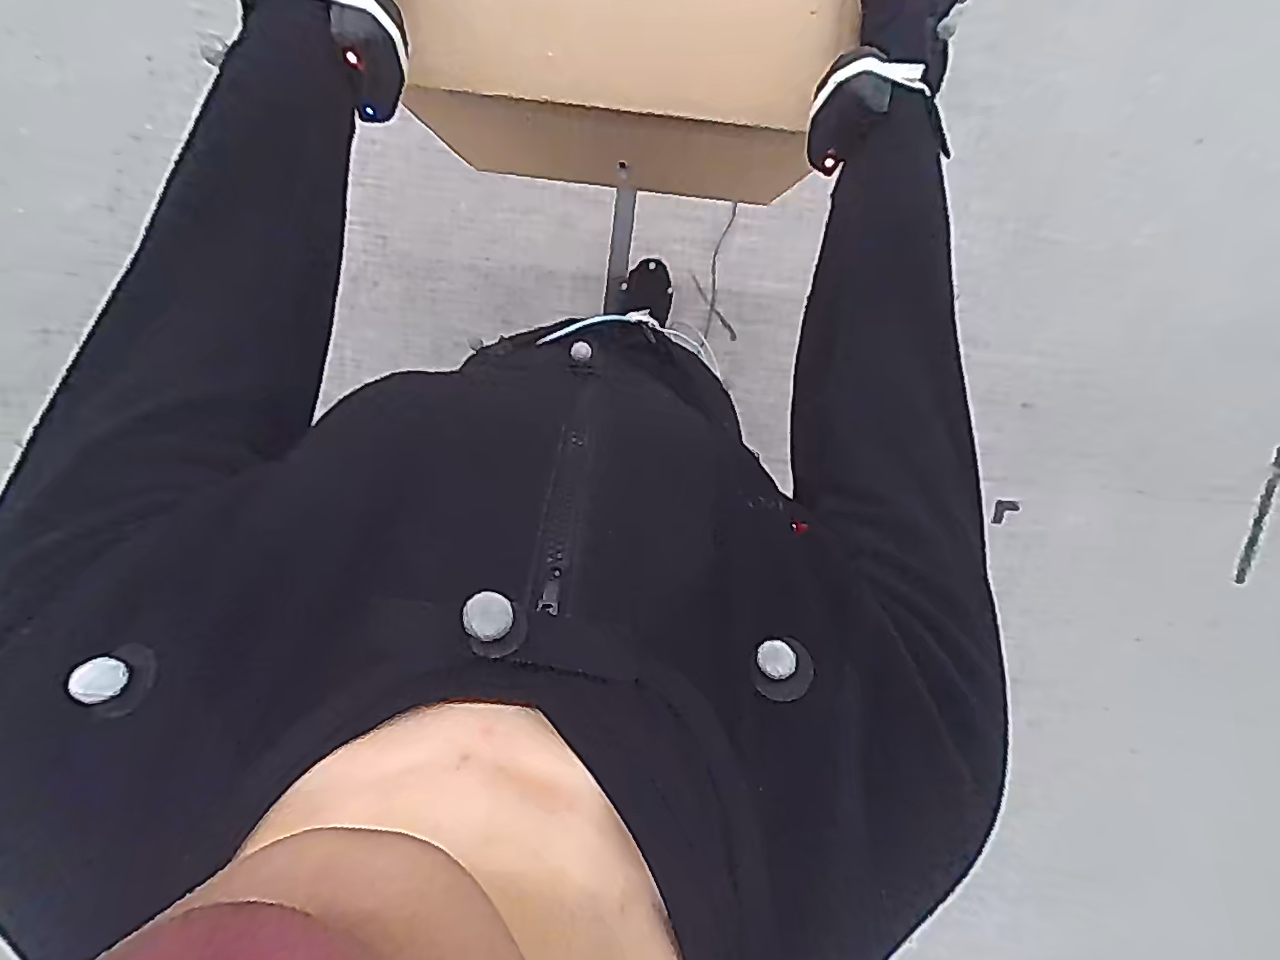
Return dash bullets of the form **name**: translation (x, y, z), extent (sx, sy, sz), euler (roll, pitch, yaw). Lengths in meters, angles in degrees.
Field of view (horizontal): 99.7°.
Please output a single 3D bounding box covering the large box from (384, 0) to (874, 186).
- **large box**: translation (-0.001, -0.514, 0.554), extent (0.408, 0.320, 0.320), euler (5, 107, -3)
